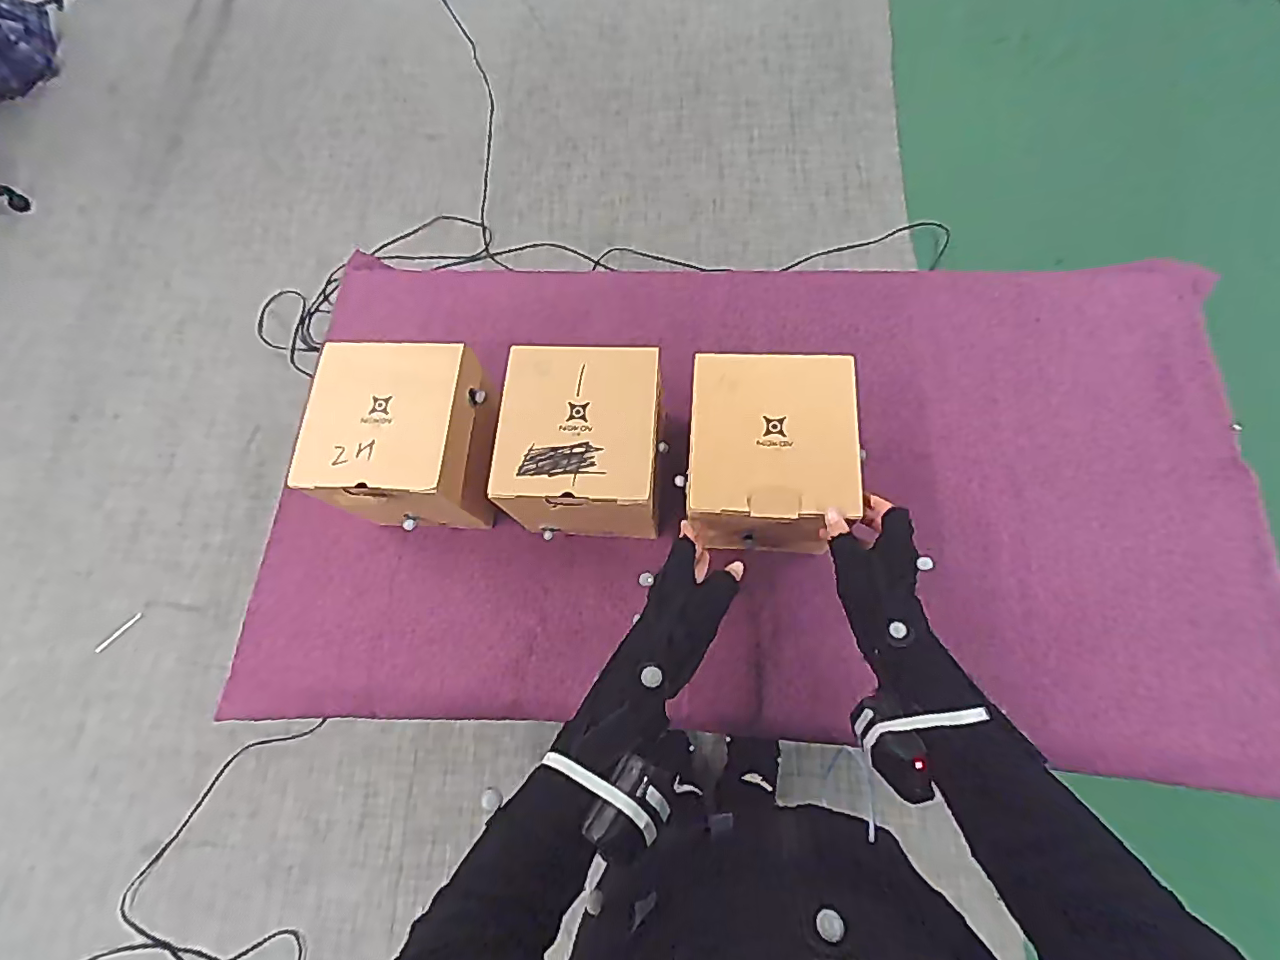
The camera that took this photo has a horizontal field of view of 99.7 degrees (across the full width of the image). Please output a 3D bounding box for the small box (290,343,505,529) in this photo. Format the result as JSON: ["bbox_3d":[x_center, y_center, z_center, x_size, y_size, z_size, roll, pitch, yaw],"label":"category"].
[{"bbox_3d":[-0.275,-0.048,0.661,0.168,0.176,0.179,2,72,6],"label":"small box"}]

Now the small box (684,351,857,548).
[{"bbox_3d":[0.137,-0.027,0.620,0.168,0.176,0.179,2,73,6],"label":"small box"}]
